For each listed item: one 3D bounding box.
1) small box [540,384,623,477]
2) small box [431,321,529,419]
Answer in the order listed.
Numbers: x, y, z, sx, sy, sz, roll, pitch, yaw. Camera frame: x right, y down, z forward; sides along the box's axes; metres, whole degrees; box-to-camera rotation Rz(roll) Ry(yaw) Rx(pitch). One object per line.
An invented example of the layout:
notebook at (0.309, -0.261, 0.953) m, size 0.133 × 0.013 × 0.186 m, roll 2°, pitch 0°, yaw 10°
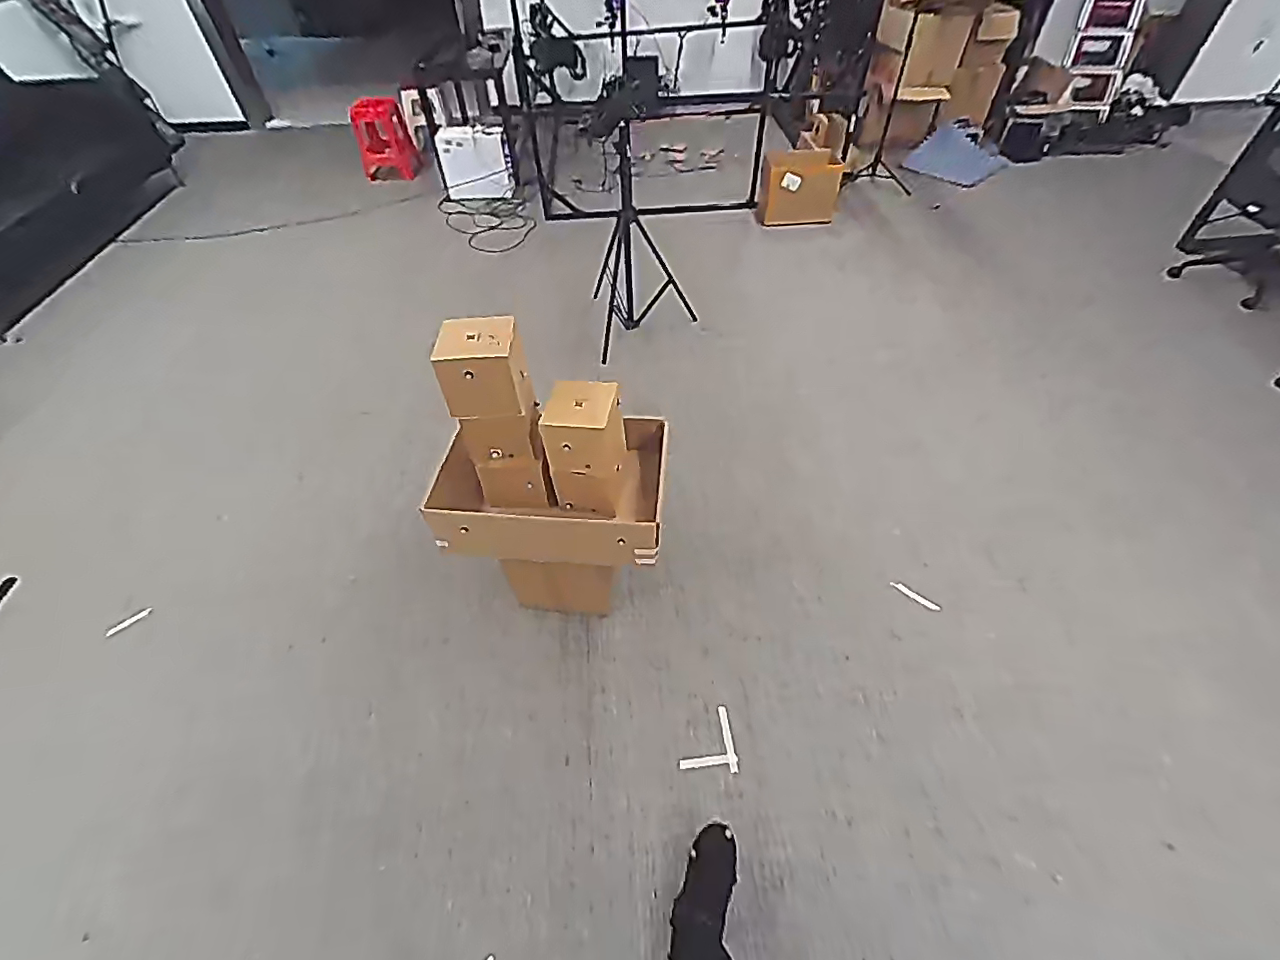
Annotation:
small box at (-0.140, -0.125, 1.387) m, size 0.168 × 0.176 × 0.179 m, roll 4°, pitch 48°, yaw 9°
small box at (-0.374, -0.260, 1.297) m, size 0.179 × 0.176 × 0.168 m, roll -3°, pitch 48°, yaw -1°
